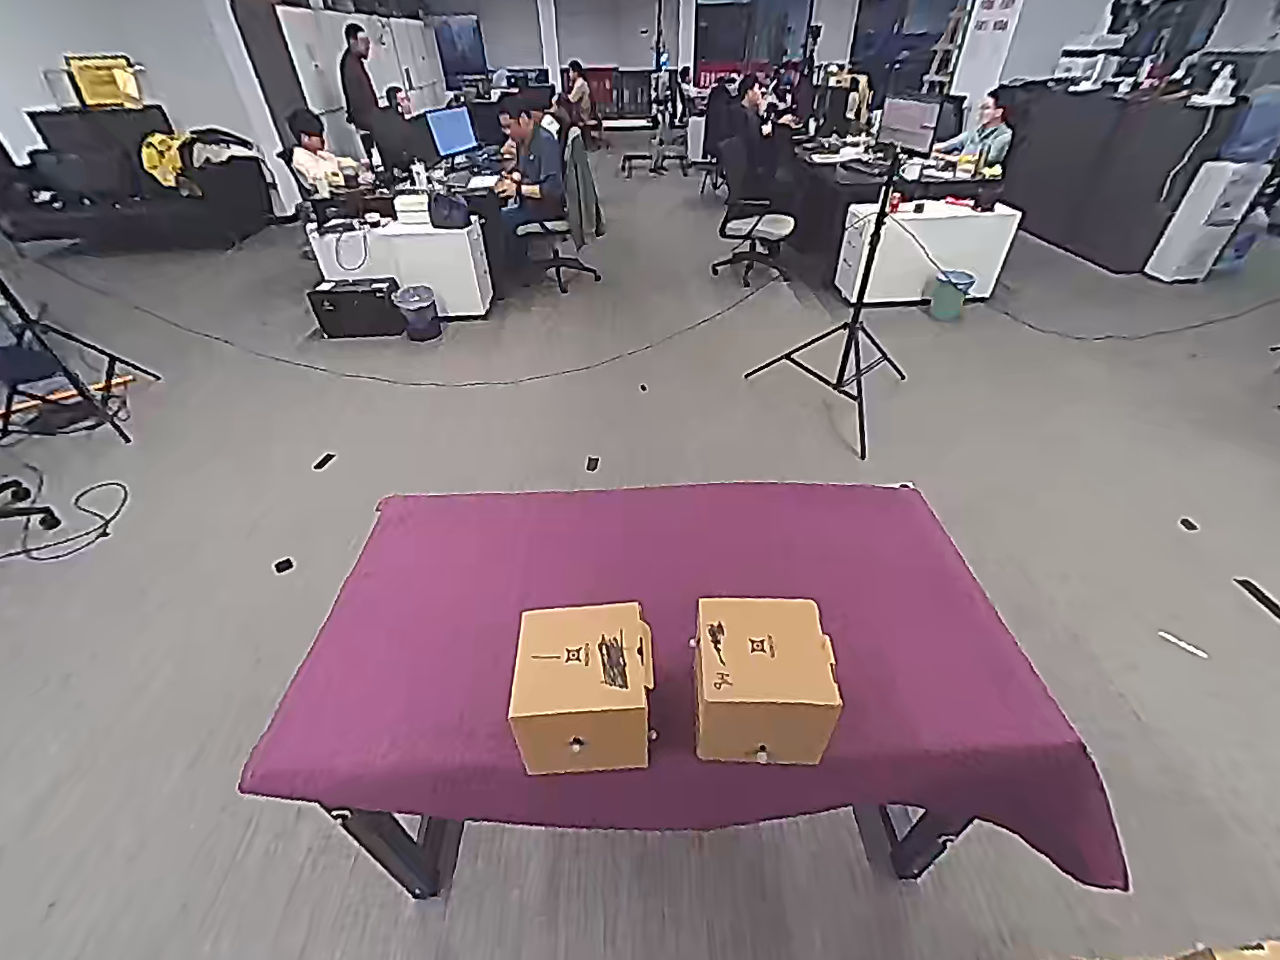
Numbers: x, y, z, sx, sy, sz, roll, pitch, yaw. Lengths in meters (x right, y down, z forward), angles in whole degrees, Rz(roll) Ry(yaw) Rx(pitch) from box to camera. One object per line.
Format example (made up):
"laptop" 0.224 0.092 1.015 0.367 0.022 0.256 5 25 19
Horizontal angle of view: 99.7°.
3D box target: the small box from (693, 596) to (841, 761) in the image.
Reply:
"small box" 0.172 0.292 0.794 0.179 0.176 0.168 1 38 3

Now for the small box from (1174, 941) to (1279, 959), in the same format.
"small box" 0.683 0.602 0.553 0.168 0.176 0.179 -3 41 2

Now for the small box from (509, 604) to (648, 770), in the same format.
"small box" -0.079 0.302 0.789 0.179 0.176 0.168 -4 38 -1
